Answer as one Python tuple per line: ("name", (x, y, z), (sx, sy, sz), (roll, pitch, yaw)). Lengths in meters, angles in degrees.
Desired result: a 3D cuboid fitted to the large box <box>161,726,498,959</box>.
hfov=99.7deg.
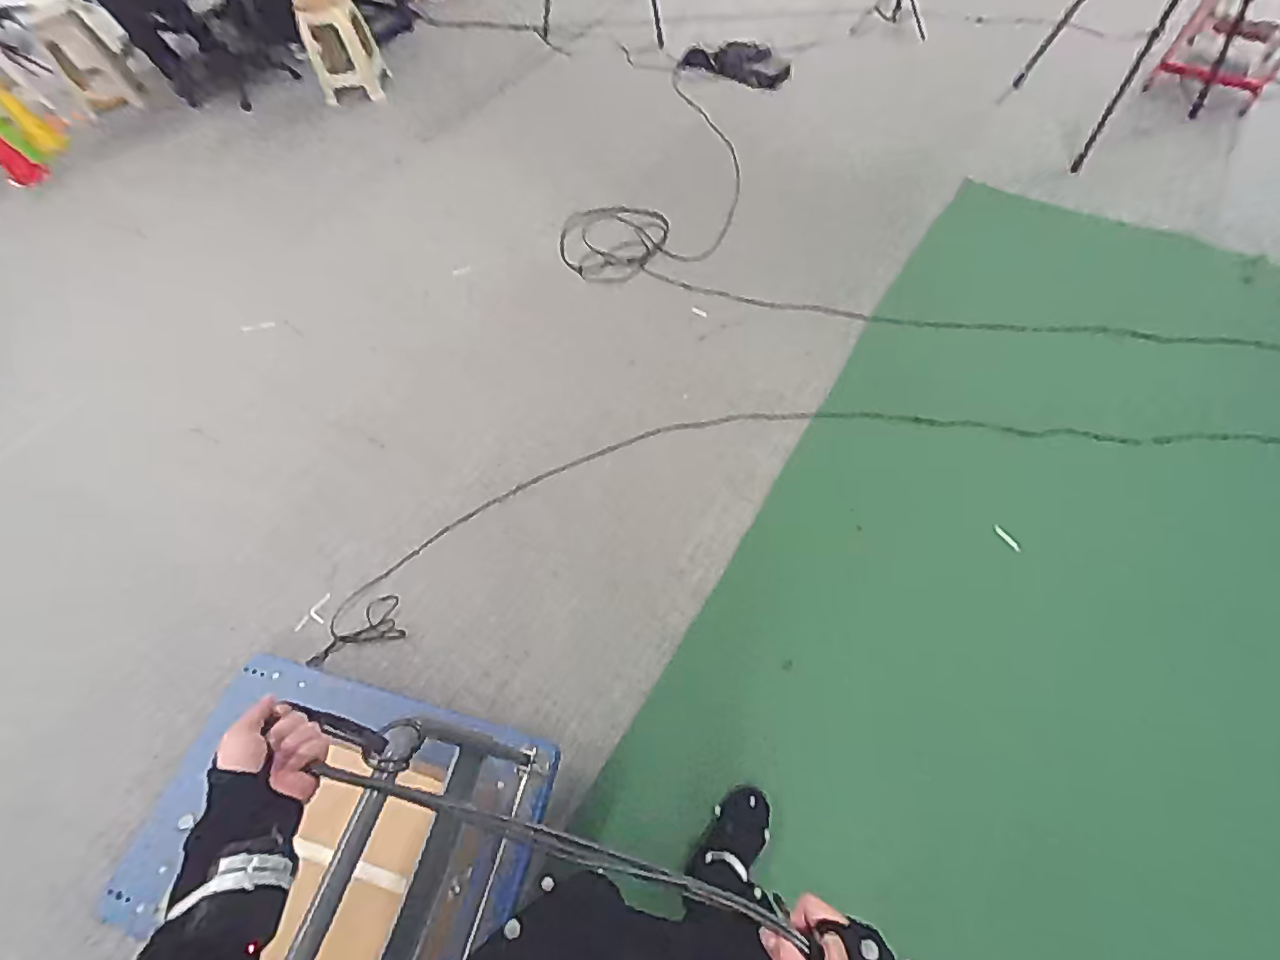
("large box", (-0.551, 0.707, 1.051), (0.408, 0.320, 0.320), (11, 60, 11))
